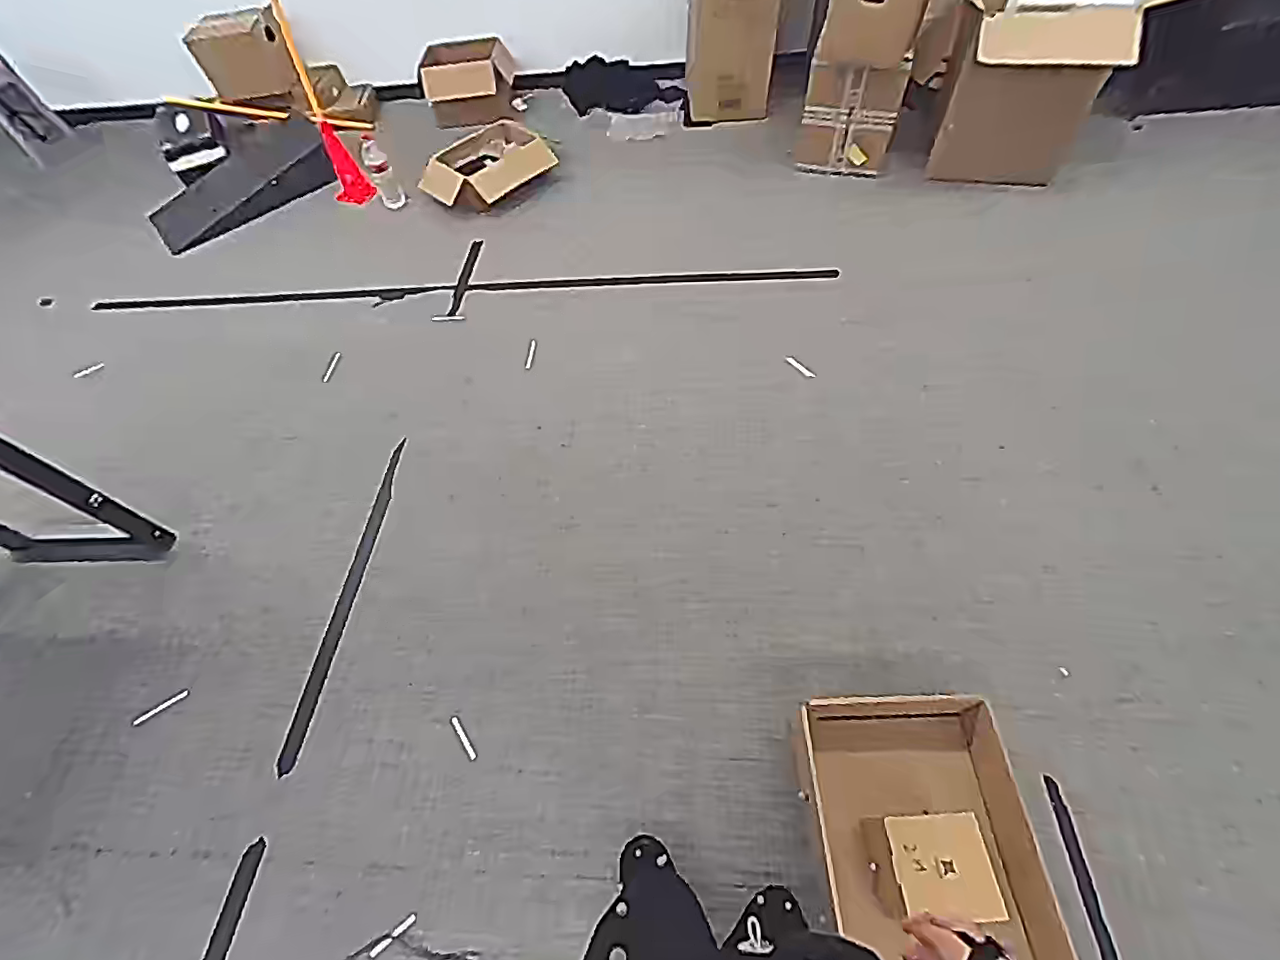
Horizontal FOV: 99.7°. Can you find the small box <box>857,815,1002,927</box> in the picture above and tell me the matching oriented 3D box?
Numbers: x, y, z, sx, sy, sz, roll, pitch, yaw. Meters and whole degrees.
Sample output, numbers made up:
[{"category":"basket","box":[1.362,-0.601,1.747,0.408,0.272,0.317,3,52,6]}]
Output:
[{"category":"small box","box":[0.551,0.756,1.057,0.179,0.176,0.168,-4,56,2]}]
